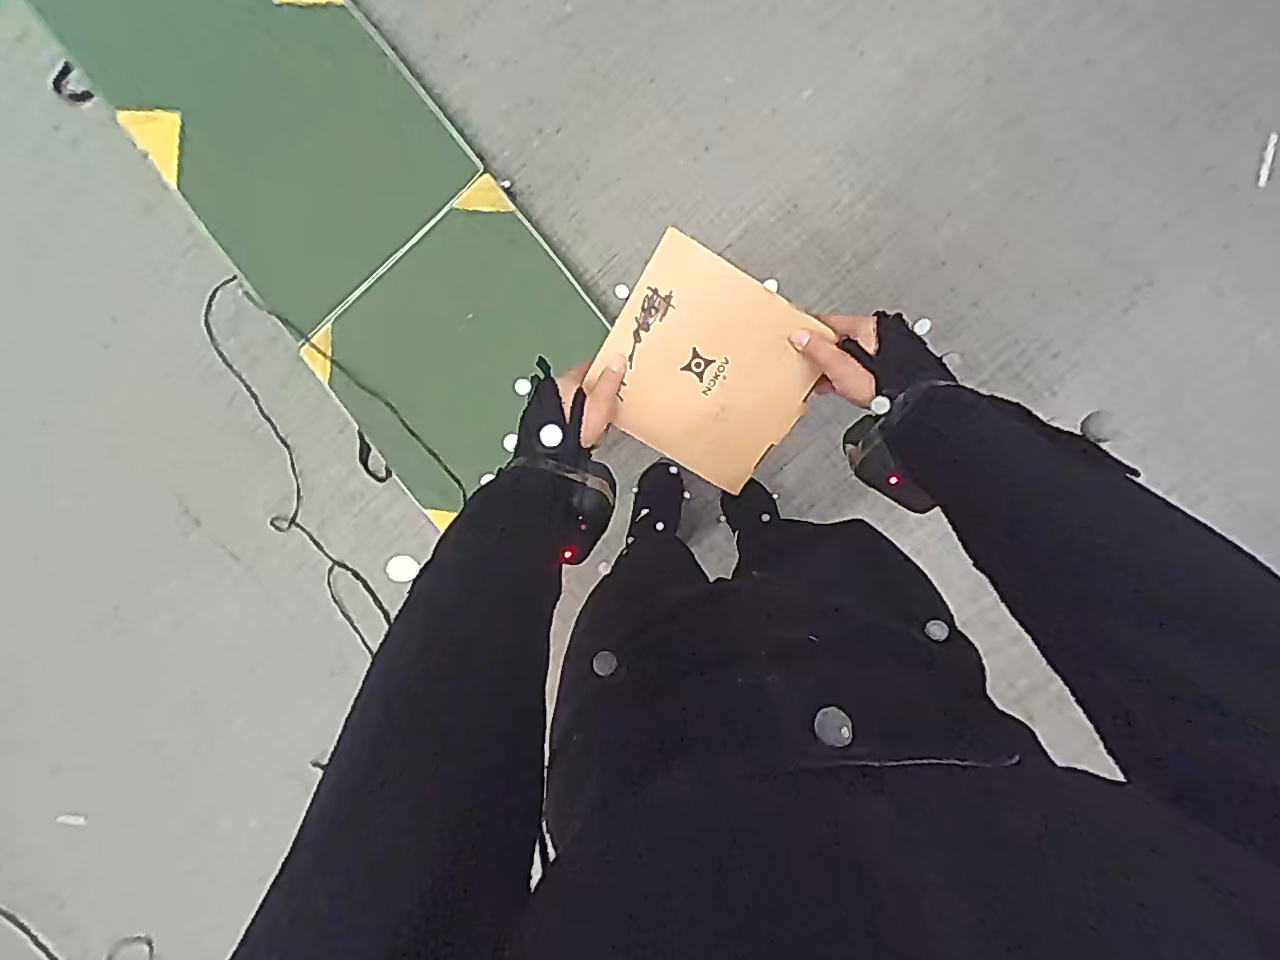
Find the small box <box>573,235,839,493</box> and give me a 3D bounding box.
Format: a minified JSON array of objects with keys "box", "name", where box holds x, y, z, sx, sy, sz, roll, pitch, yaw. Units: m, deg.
[{"box":[0.058,-0.120,0.541,0.179,0.176,0.168,30,109,-8],"name":"small box"}]
